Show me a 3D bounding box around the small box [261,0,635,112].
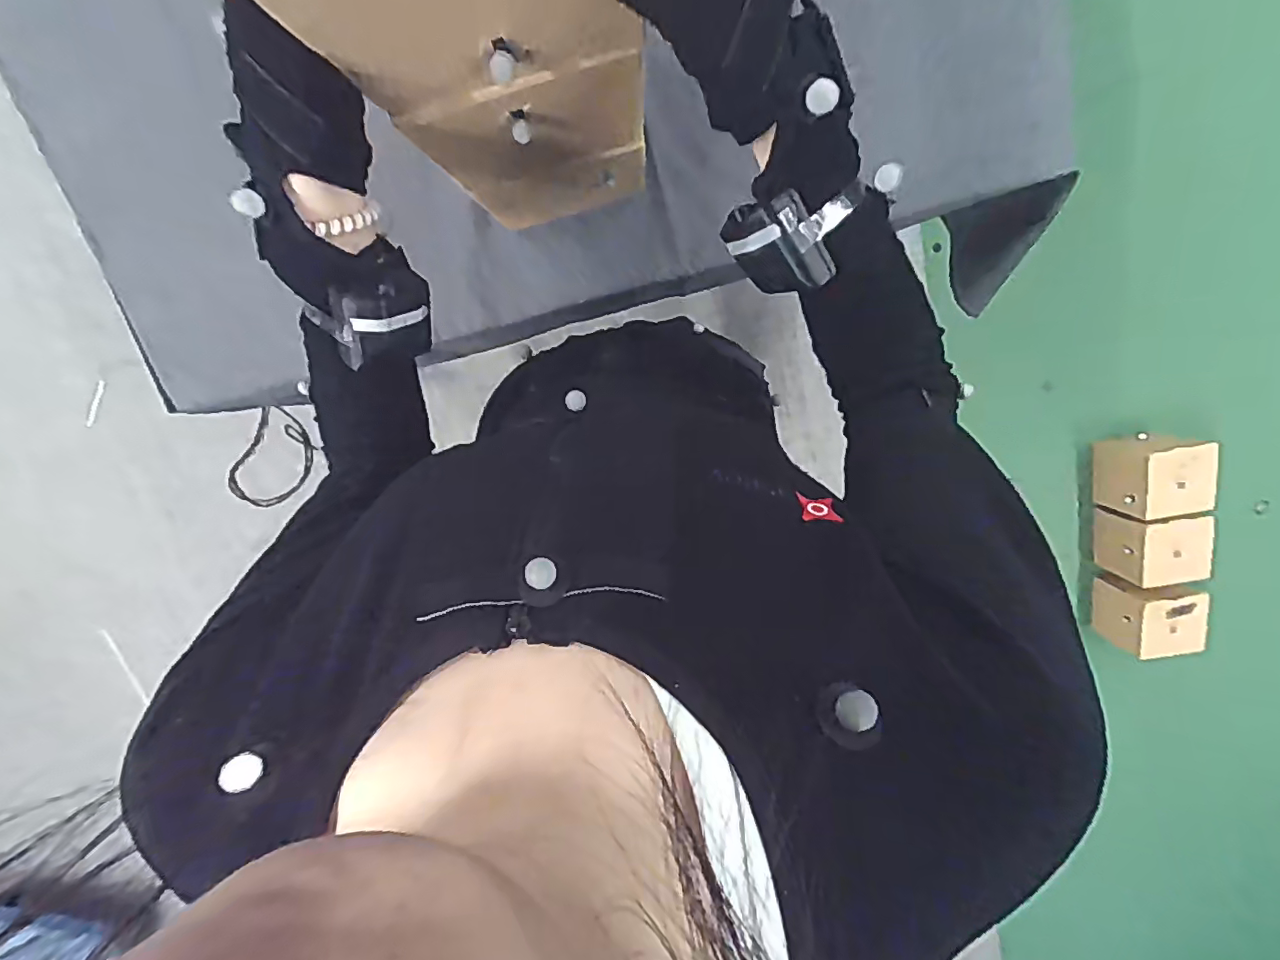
[{"bbox_3d":[-0.099,-0.313,0.255,0.179,0.176,0.168,-13,103,4],"label":"small box"}]

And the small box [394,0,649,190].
[{"bbox_3d":[-0.098,-0.351,0.415,0.179,0.176,0.168,-15,103,5],"label":"small box"}]
